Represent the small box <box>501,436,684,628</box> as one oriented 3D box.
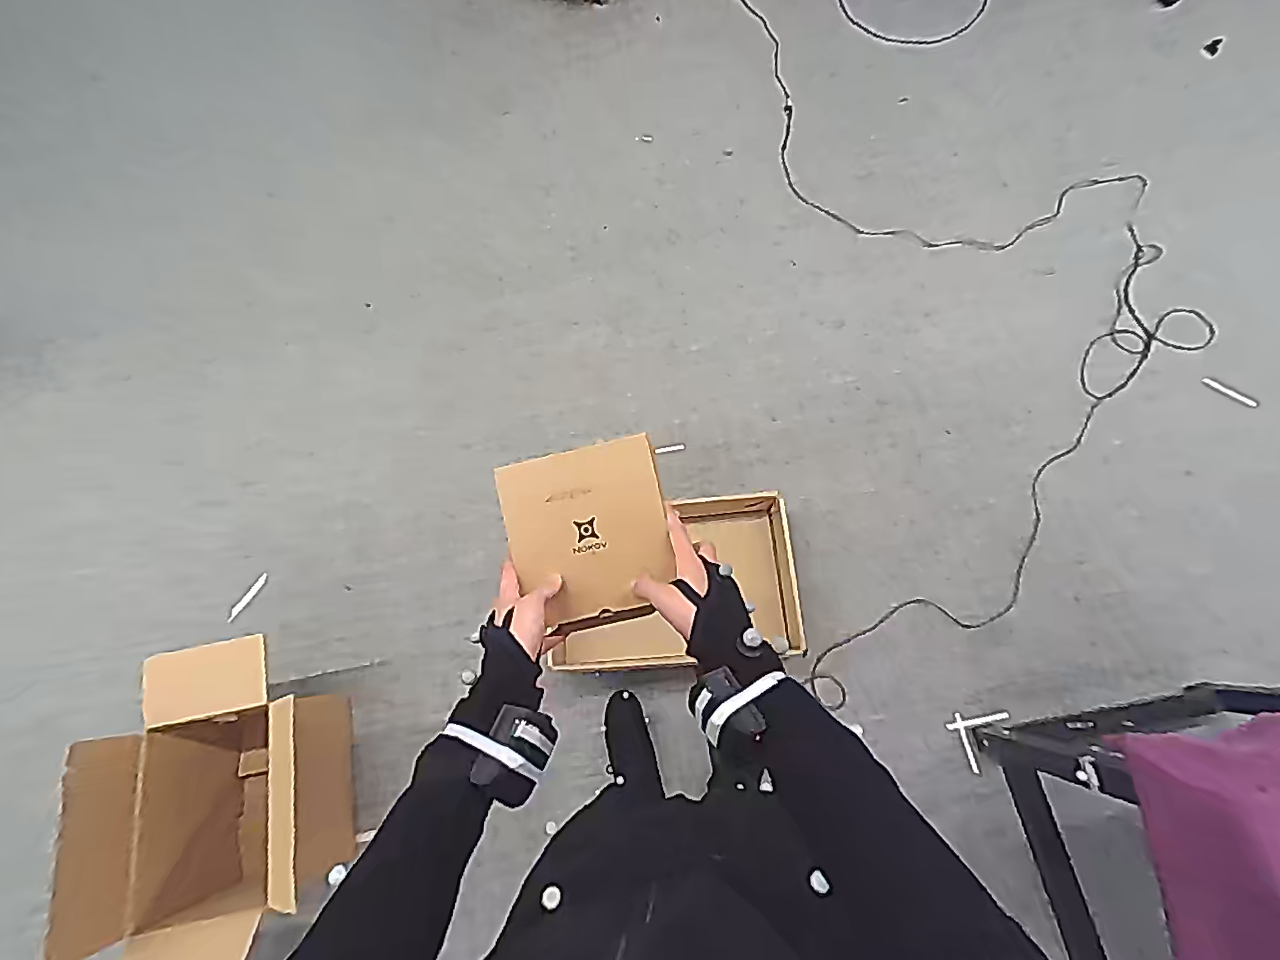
[{"bbox_3d":[-0.043,0.053,0.635,0.168,0.176,0.179,-12,90,4],"label":"small box"}]
